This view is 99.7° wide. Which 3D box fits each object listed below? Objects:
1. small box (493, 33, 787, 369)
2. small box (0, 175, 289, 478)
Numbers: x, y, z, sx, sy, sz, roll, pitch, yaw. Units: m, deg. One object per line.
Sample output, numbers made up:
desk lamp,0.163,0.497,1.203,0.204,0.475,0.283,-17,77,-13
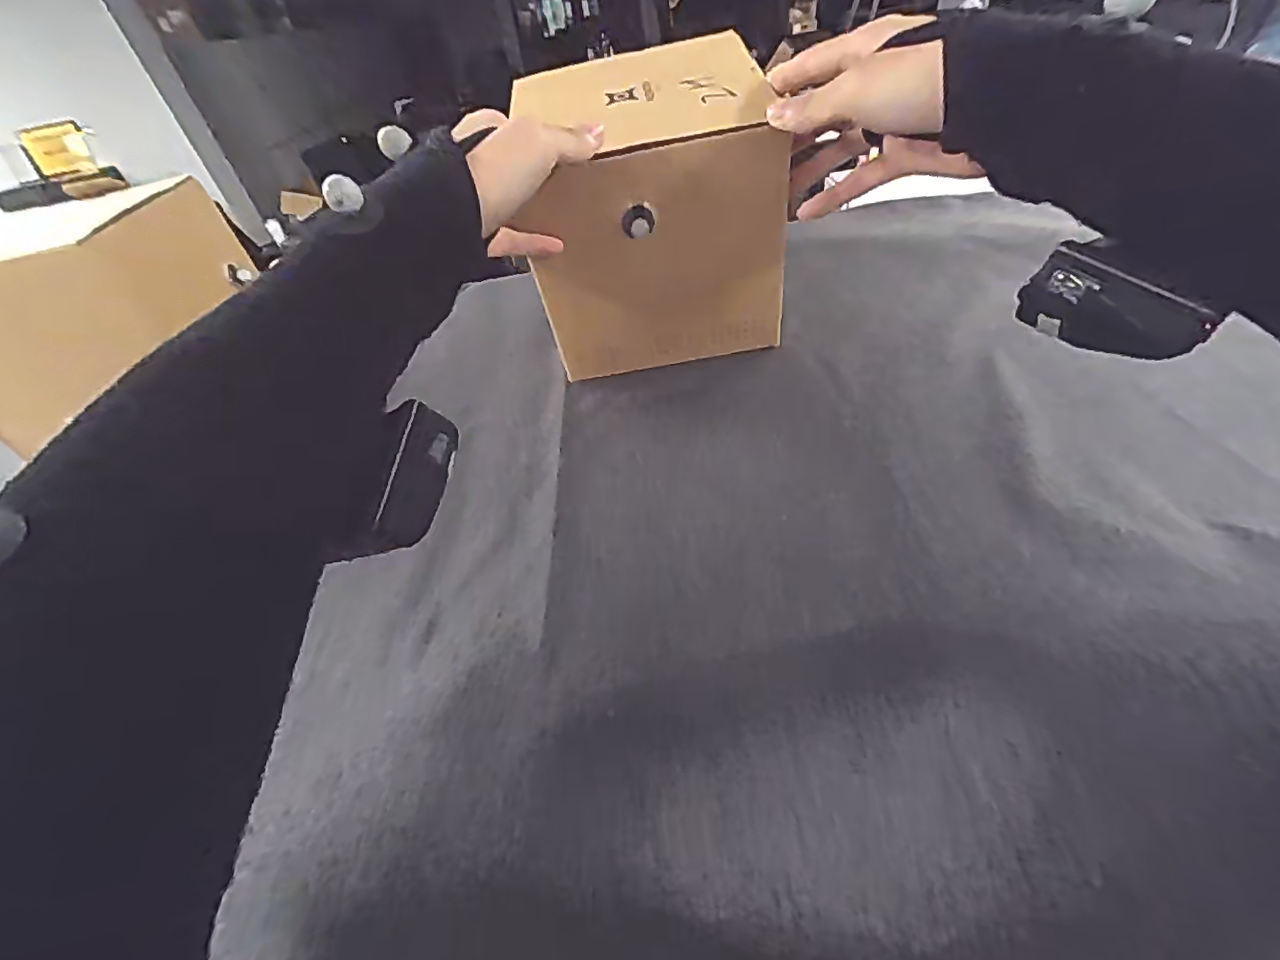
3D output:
small box,0.005,-0.205,0.419,0.179,0.176,0.168,-9,53,3
small box,-0.436,-0.129,0.452,0.168,0.176,0.179,-13,42,-1
